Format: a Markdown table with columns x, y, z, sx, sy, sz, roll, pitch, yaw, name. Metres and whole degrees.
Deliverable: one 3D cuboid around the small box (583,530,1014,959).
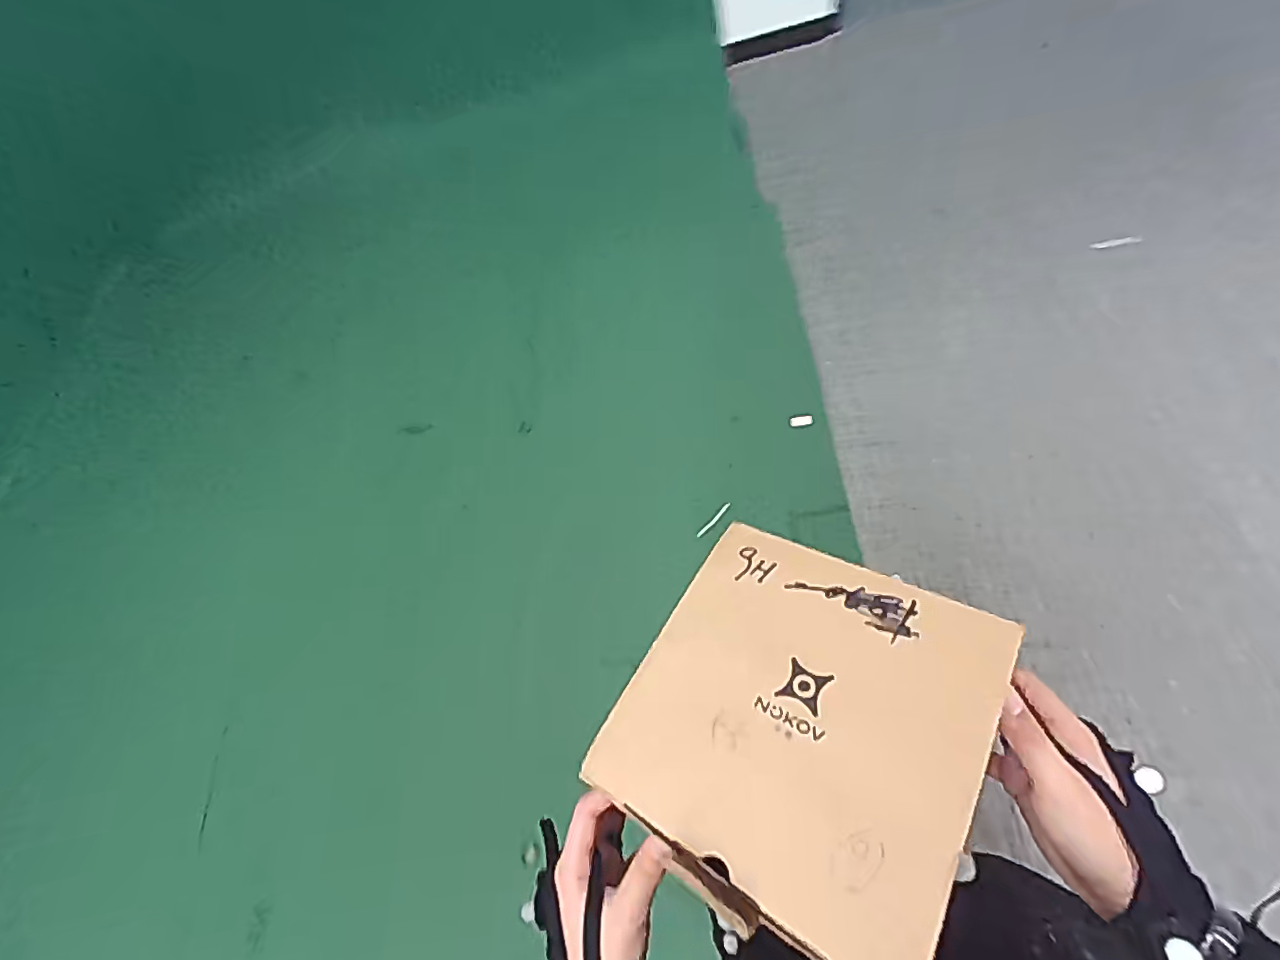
| x | y | z | sx | sy | sz | roll | pitch | yaw | name |
| --- | --- | --- | --- | --- | --- | --- | --- | --- | --- |
| 0.100 | 0.168 | 0.338 | 0.168 | 0.176 | 0.179 | 21 | 61 | 32 | small box |
